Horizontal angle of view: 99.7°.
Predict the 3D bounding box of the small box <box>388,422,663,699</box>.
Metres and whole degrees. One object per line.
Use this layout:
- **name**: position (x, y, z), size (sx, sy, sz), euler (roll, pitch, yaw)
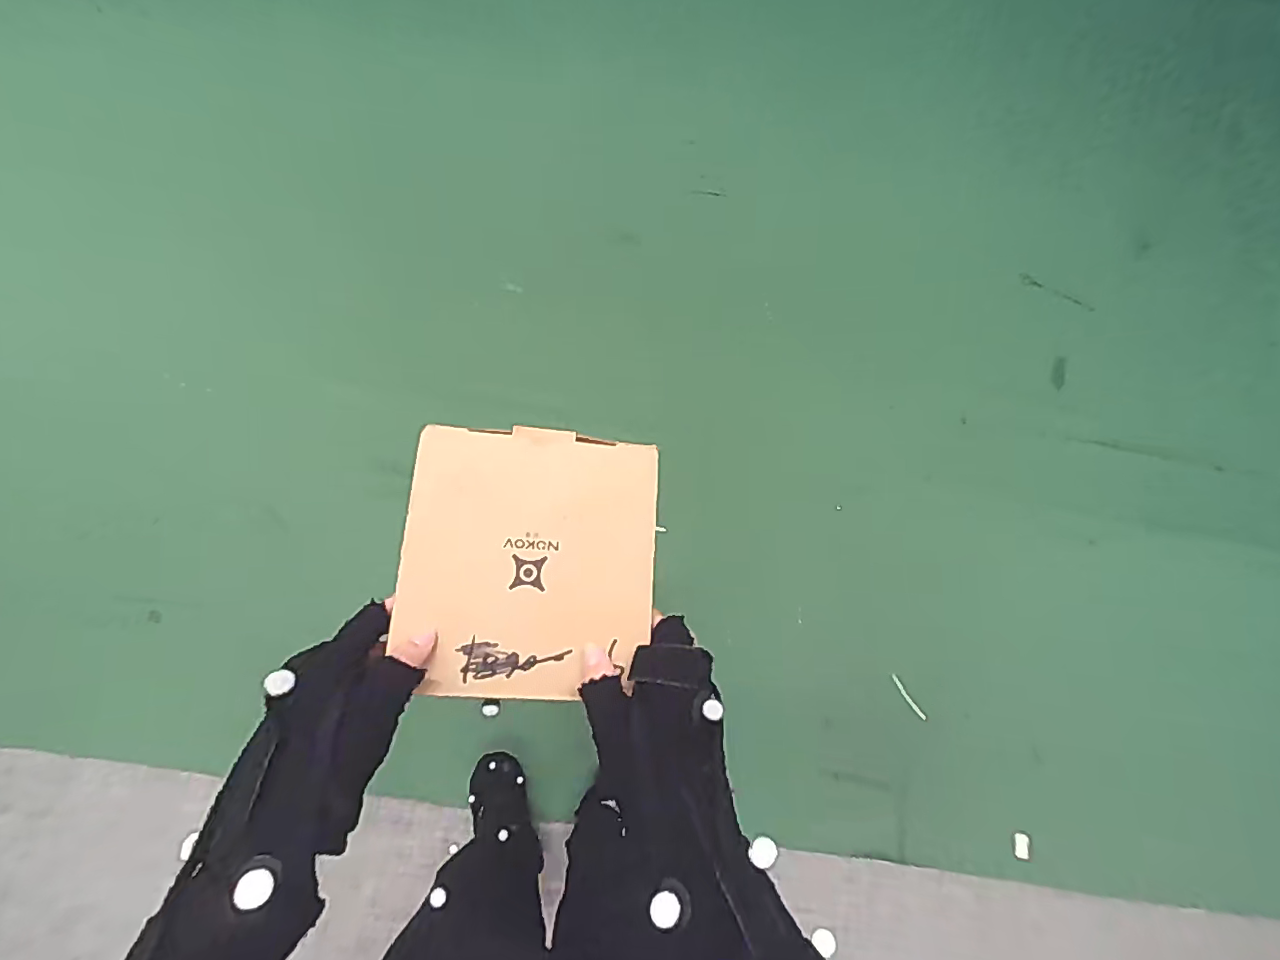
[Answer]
- **small box**: position (-0.080, 0.069, 0.436), size (0.168, 0.176, 0.179), euler (5, 76, -7)
